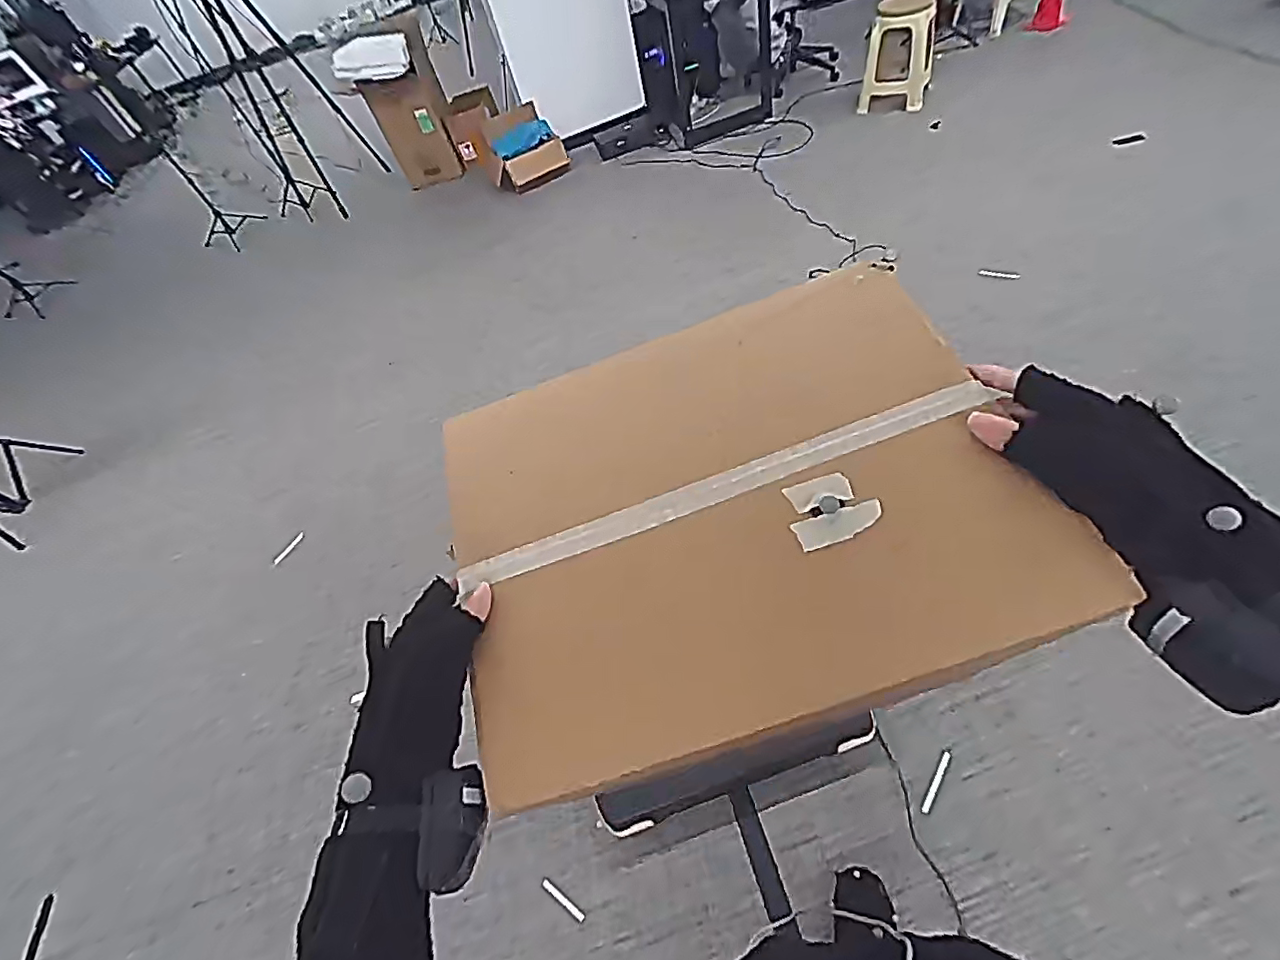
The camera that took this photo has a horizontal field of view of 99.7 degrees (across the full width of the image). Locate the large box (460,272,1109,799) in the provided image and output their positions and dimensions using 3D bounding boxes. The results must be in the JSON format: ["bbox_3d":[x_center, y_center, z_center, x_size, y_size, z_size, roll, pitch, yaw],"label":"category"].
[{"bbox_3d":[0.092,0.078,0.539,0.408,0.320,0.320,-20,61,3],"label":"large box"}]
